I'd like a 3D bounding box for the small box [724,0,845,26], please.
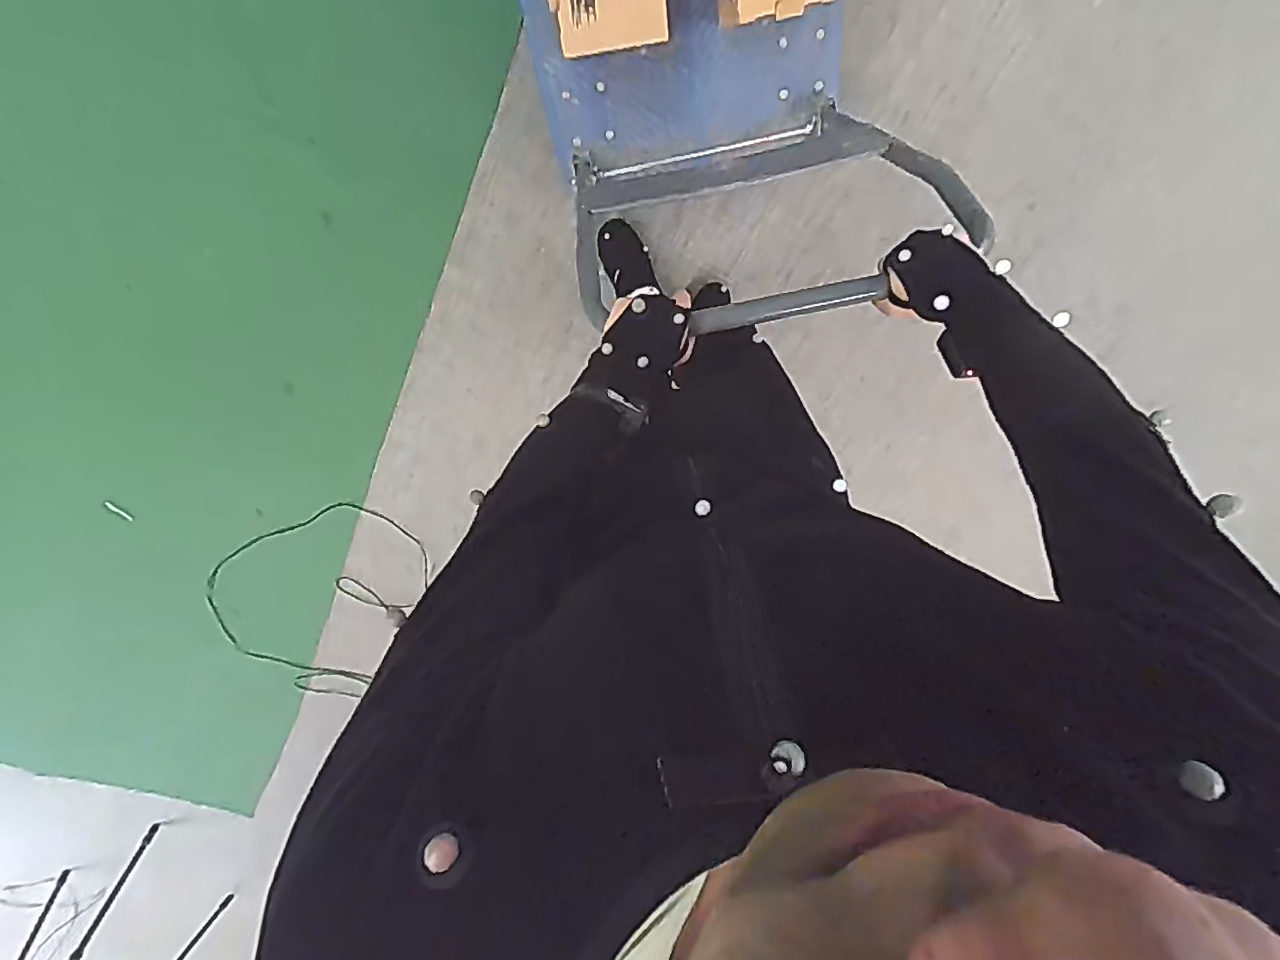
[{"bbox_3d":[0.225,-0.856,0.865,0.168,0.176,0.179,-11,130,4],"label":"small box"}]
